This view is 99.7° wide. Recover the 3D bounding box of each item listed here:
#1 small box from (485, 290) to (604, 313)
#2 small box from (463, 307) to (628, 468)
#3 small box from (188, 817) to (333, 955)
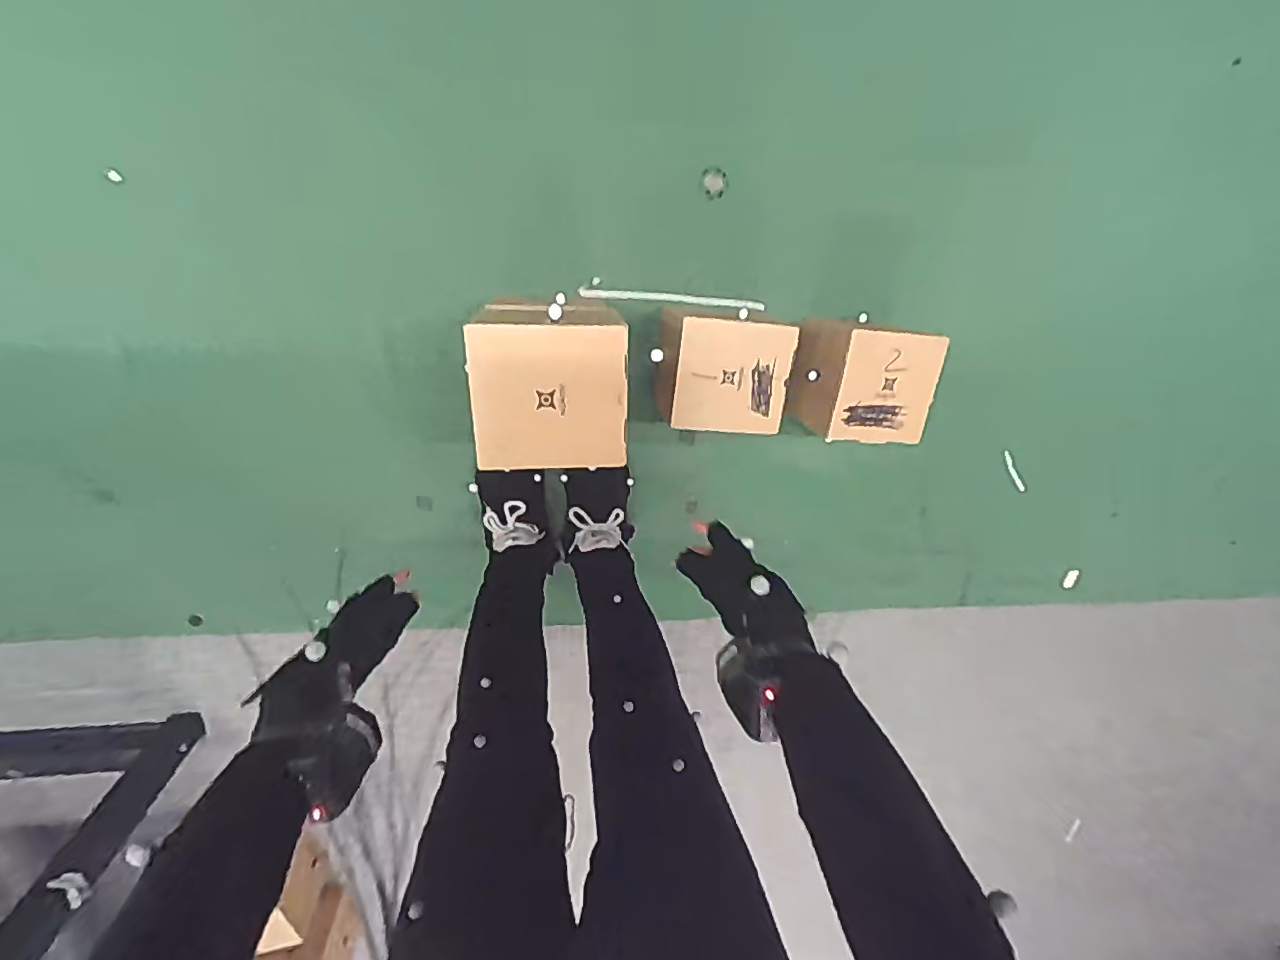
[{"bbox_3d":[-0.138,-0.186,0.821,0.168,0.176,0.179,-1,115,-9],"label":"small box"},{"bbox_3d":[-0.111,-0.121,0.674,0.179,0.176,0.168,-2,113,-8],"label":"small box"},{"bbox_3d":[-0.814,0.879,1.181,0.179,0.176,0.168,-10,116,-4],"label":"small box"}]
